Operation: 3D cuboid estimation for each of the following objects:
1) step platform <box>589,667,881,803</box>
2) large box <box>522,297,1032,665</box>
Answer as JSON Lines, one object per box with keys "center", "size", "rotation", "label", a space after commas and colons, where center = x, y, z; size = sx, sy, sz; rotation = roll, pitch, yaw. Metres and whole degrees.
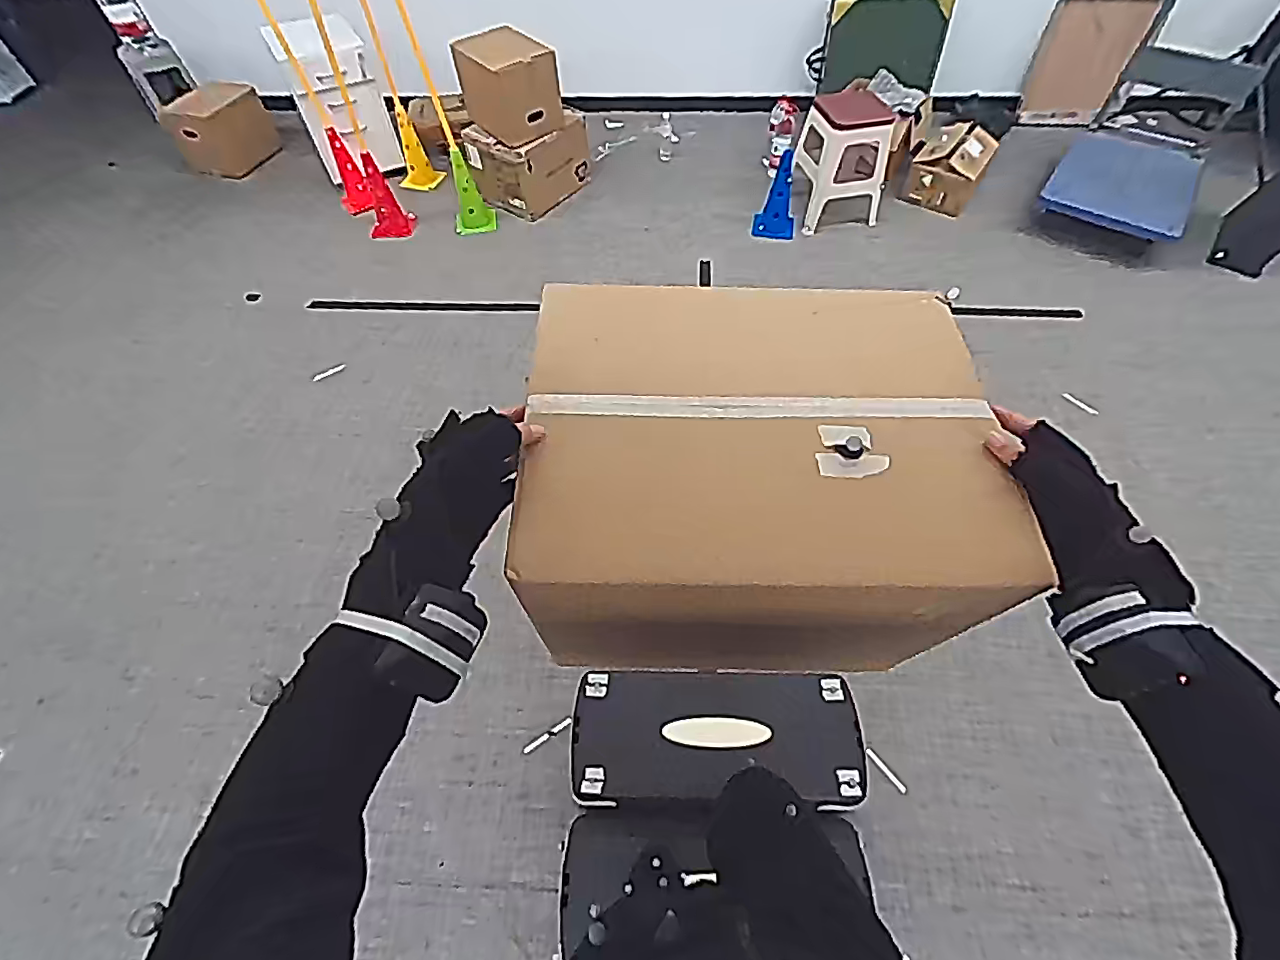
{"center": [0.217, 0.621, 1.326], "size": [0.684, 0.204, 0.286], "rotation": [0, 56, 0], "label": "step platform"}
{"center": [0.100, 0.017, 0.613], "size": [0.408, 0.320, 0.320], "rotation": [0, 61, -1], "label": "large box"}
